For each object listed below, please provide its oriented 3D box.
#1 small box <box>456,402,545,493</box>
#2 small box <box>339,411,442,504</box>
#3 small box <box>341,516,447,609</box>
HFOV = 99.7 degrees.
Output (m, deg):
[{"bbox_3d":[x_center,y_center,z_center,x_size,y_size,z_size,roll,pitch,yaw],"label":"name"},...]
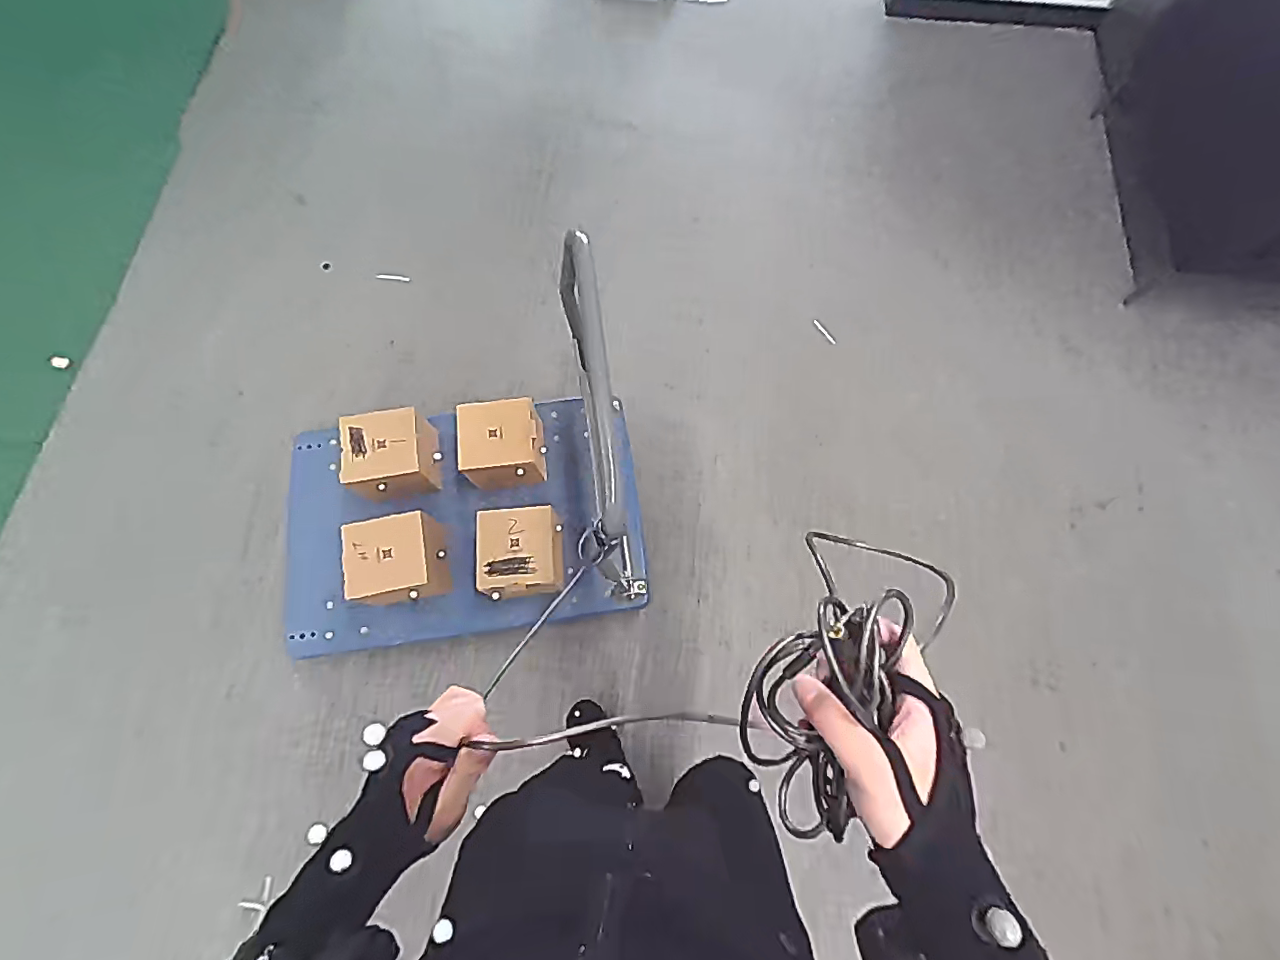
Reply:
[{"bbox_3d":[-0.337,-0.073,1.326,0.179,0.176,0.168,-6,73,-3],"label":"small box"},{"bbox_3d":[-0.600,-0.049,1.313,0.179,0.176,0.168,-9,73,-4],"label":"small box"},{"bbox_3d":[-0.554,0.192,1.237,0.179,0.176,0.168,-11,72,-4],"label":"small box"}]
